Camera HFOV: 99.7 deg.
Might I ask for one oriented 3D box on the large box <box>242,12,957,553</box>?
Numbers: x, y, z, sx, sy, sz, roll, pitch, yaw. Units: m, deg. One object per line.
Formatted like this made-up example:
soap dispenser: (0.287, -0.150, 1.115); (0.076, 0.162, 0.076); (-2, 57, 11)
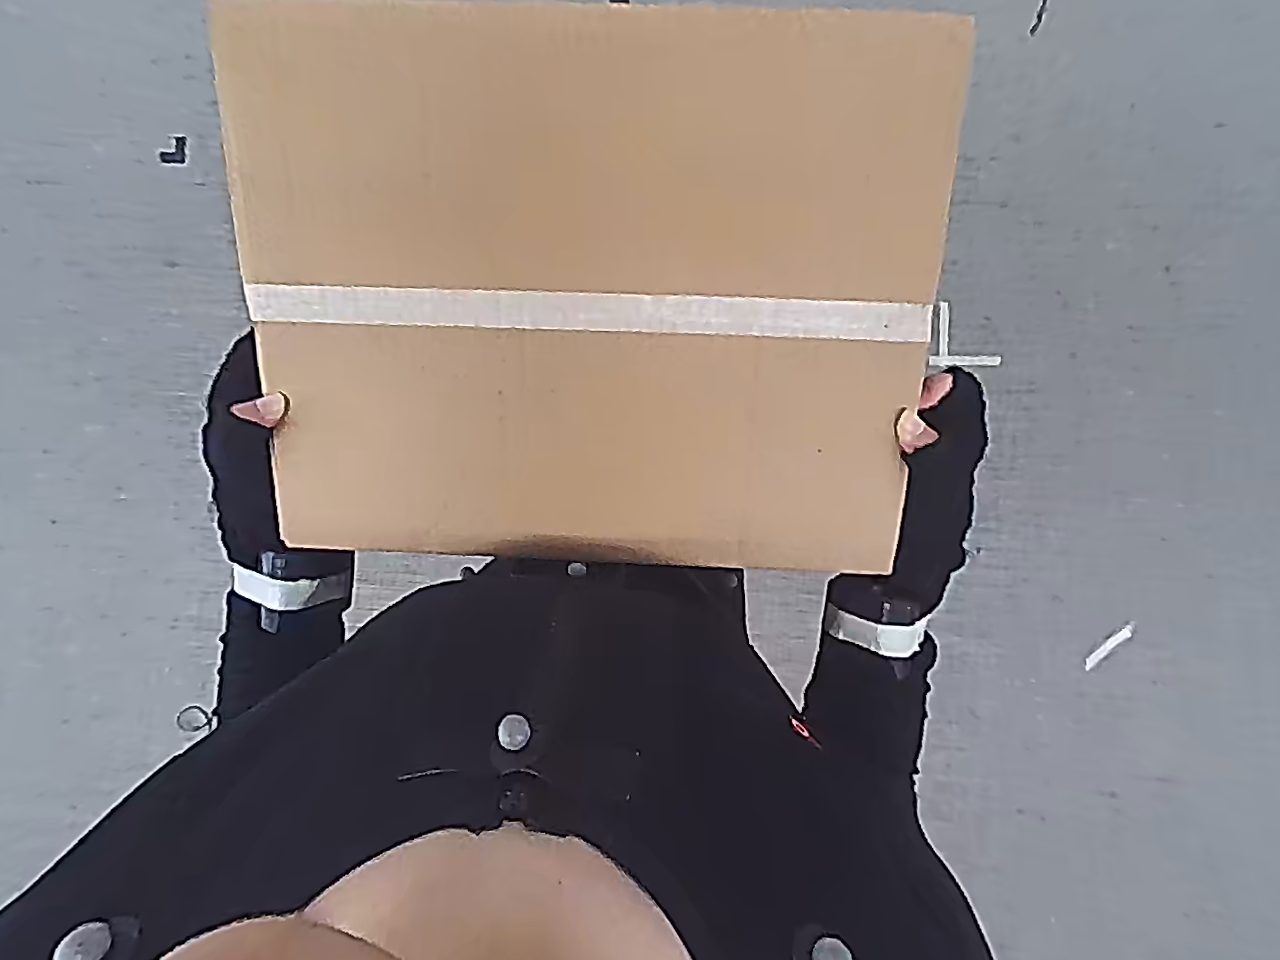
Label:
large box: (-0.026, -0.139, 0.475); (0.408, 0.320, 0.320); (2, 105, 1)
